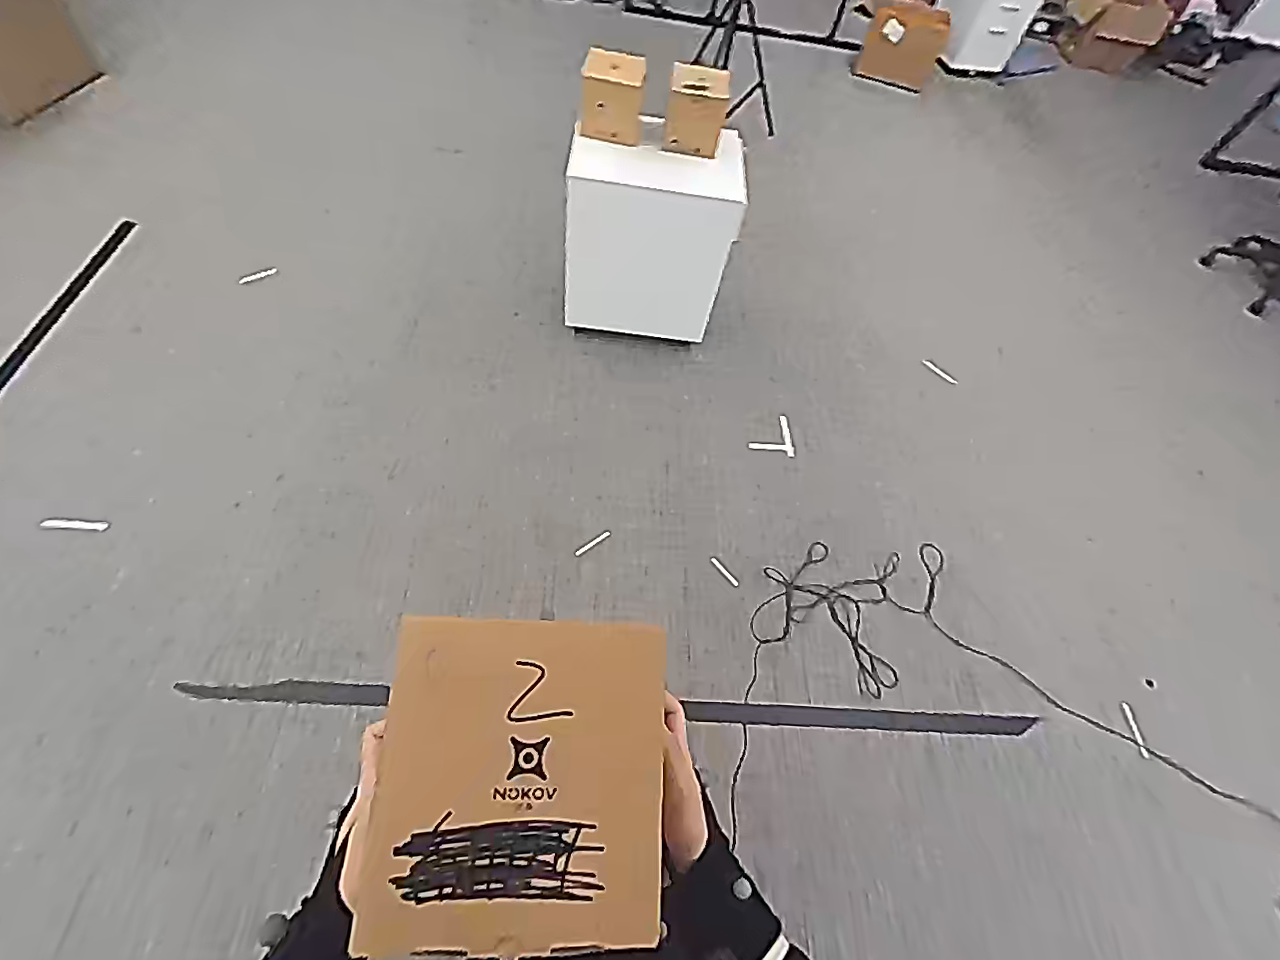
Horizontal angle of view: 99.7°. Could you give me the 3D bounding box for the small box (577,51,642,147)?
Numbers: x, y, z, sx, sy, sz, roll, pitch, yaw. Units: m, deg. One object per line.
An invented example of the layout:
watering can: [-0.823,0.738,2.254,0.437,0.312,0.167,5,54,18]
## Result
small box: [-0.093,-1.116,1.591,0.168,0.176,0.179,9,58,-4]

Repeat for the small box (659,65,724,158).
small box: [0.151,-1.095,1.614,0.168,0.176,0.179,6,58,-4]
